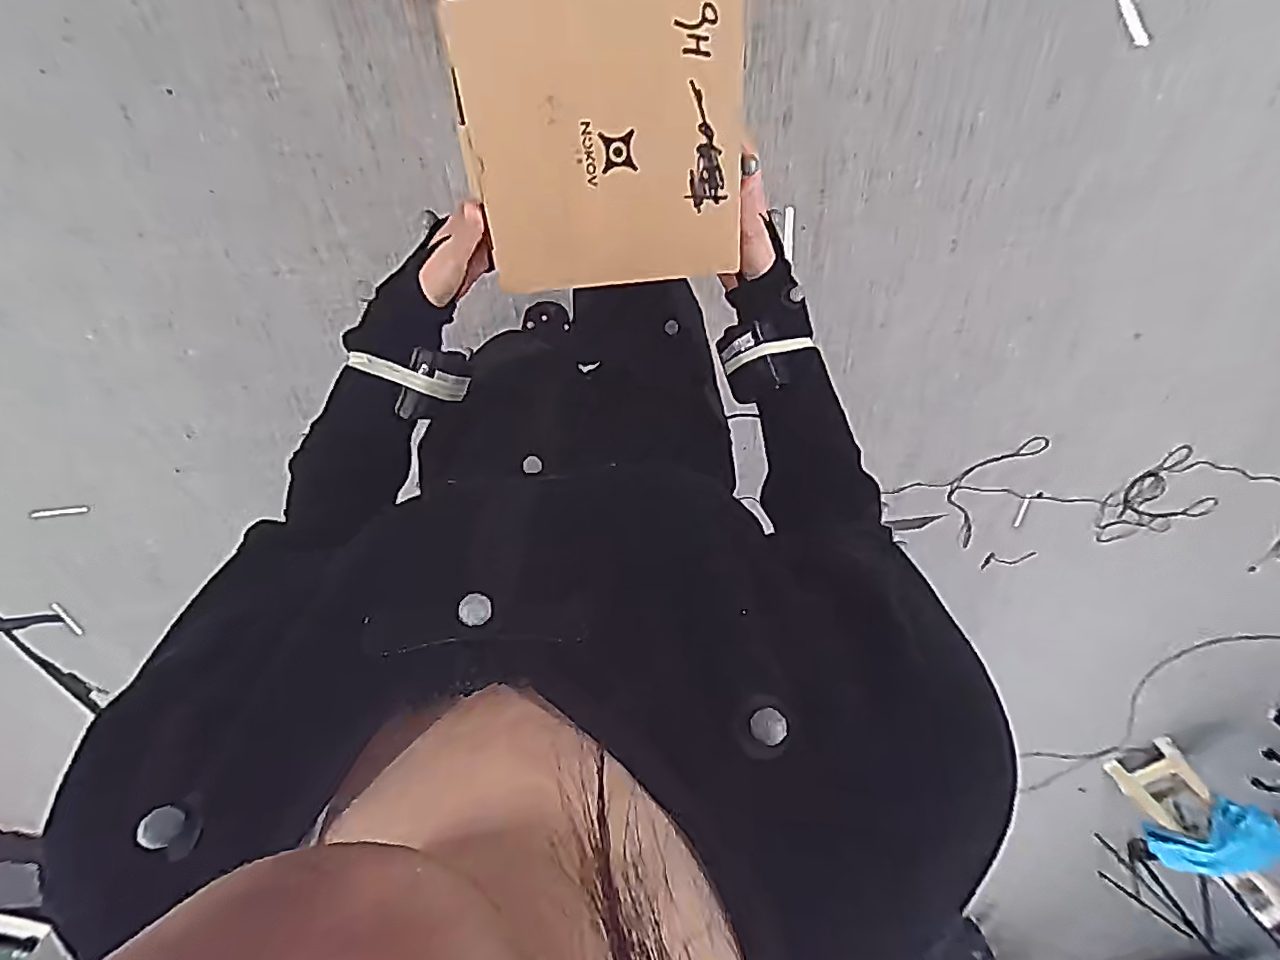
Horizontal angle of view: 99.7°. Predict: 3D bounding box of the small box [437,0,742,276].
[{"bbox_3d":[-0.021,-0.263,0.407,0.179,0.176,0.168,-4,124,4],"label":"small box"}]
